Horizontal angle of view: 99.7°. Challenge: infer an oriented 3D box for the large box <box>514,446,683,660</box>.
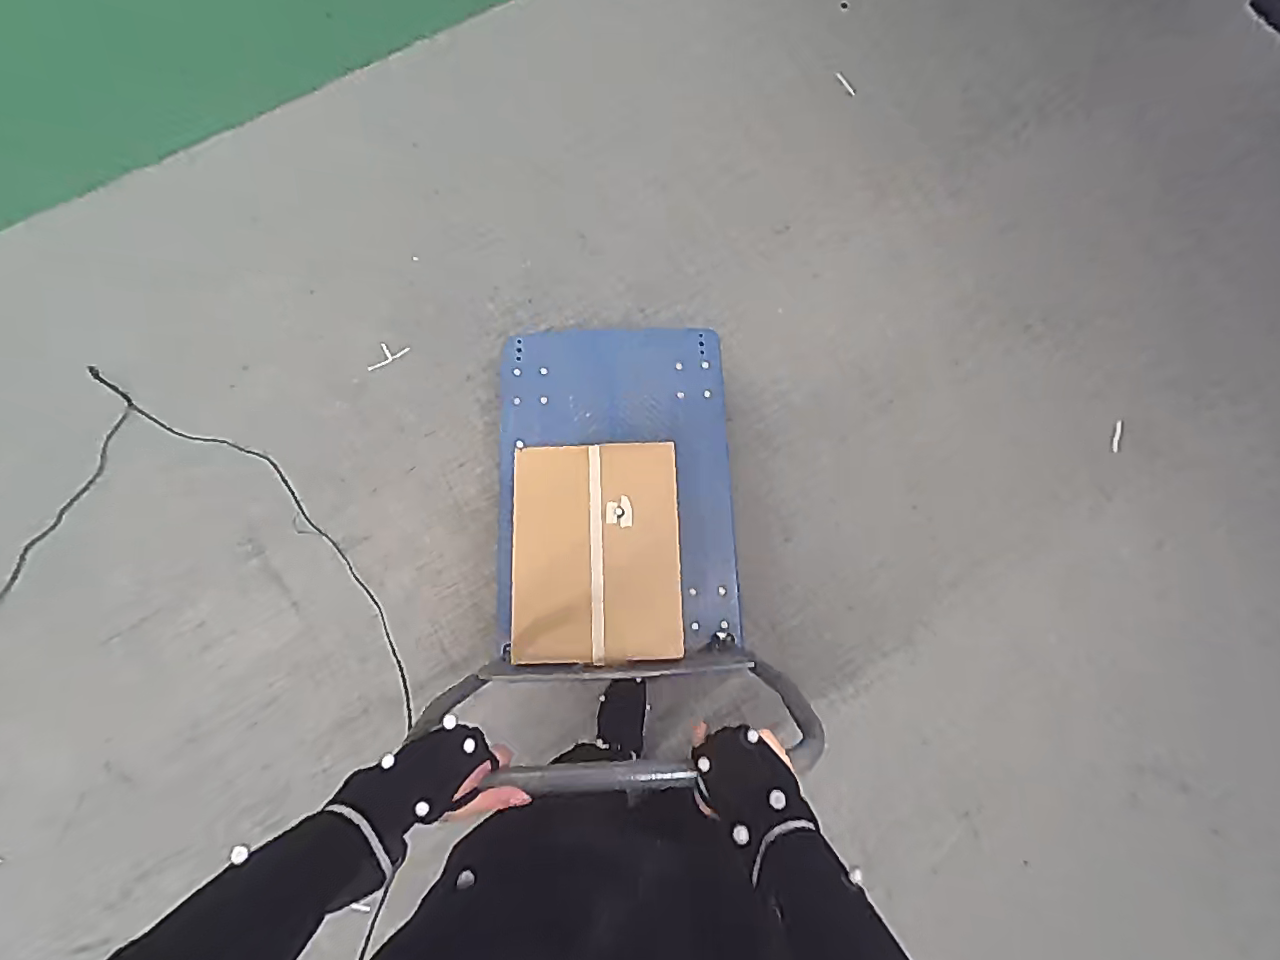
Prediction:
[{"bbox_3d":[-0.082,0.167,1.177,0.320,0.320,0.408,-2,76,-1],"label":"large box"}]
